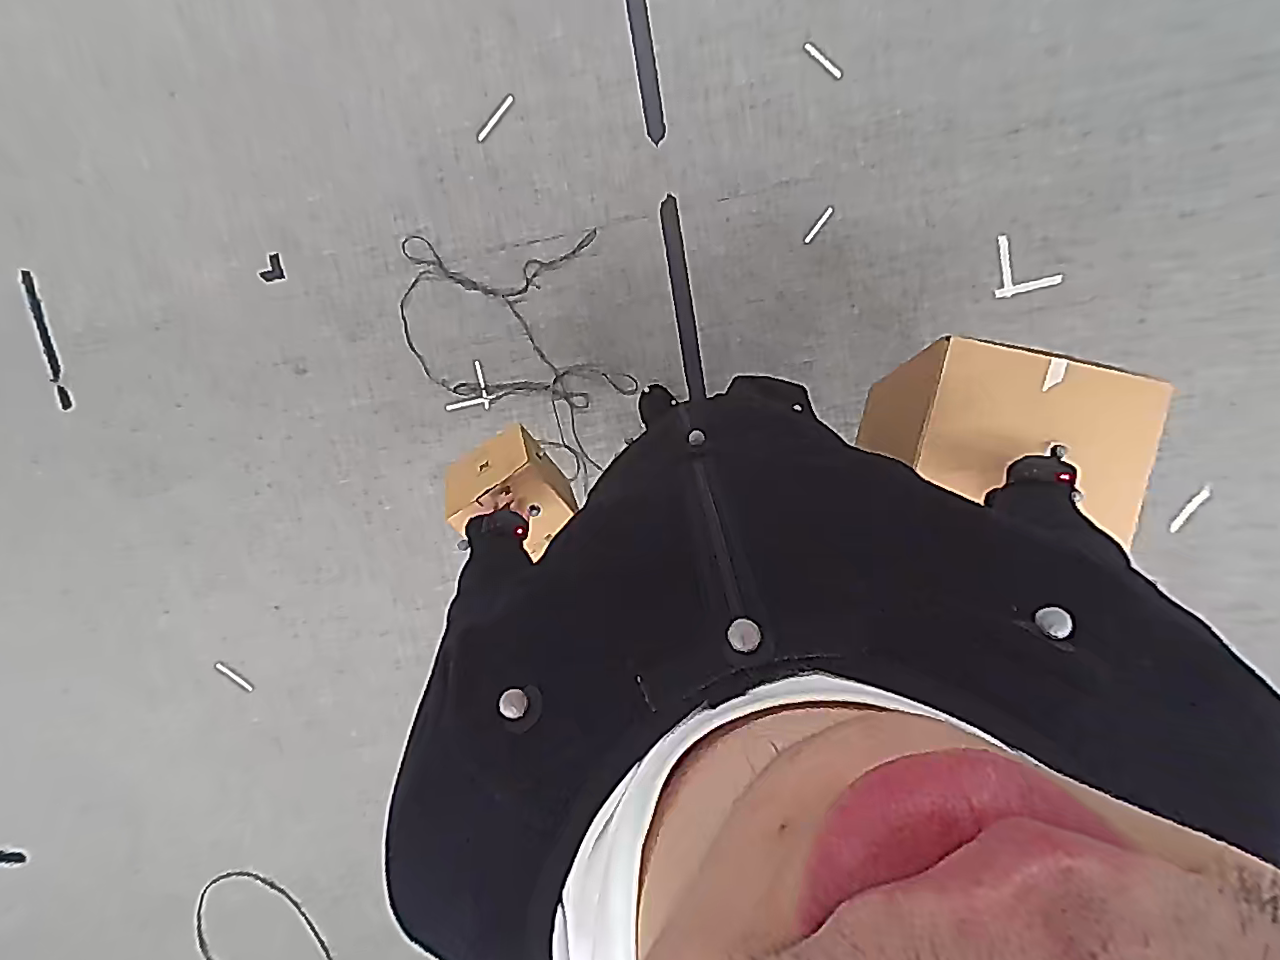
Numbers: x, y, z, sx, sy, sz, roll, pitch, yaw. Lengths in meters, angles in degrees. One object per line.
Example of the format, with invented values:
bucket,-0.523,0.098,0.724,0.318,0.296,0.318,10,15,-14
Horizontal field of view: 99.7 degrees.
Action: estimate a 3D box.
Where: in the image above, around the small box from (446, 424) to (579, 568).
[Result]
small box,-0.229,0.035,0.981,0.168,0.179,0.176,-34,123,2
